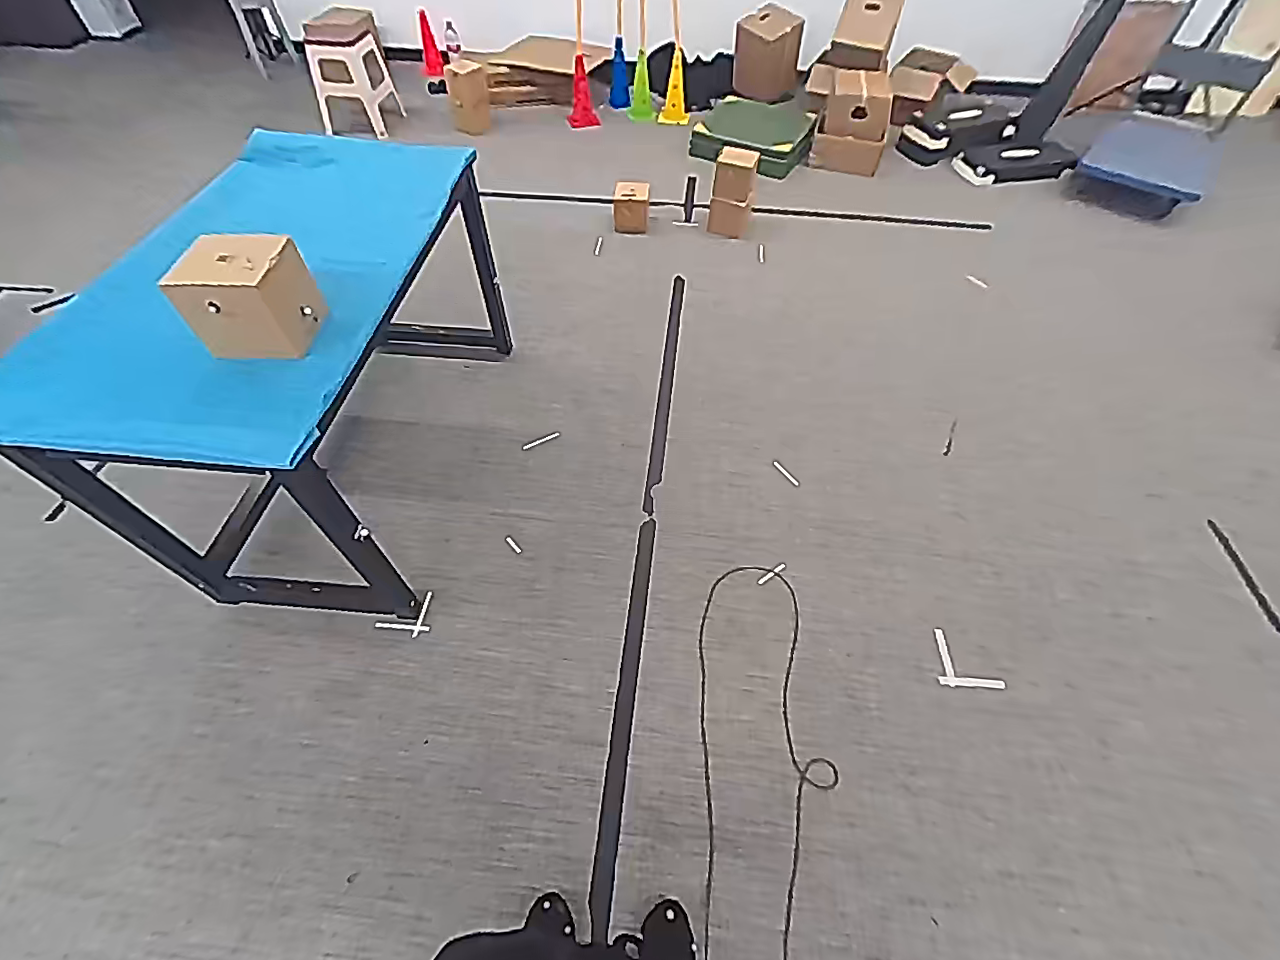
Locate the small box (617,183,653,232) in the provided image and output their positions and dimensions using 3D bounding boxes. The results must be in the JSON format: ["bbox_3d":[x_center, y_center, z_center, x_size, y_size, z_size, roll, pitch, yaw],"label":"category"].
[{"bbox_3d":[-0.021,-1.371,2.727,0.168,0.176,0.179,4,53,2],"label":"small box"}]

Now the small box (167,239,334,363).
[{"bbox_3d":[-0.749,-0.348,1.063,0.179,0.176,0.168,4,54,0],"label":"small box"}]

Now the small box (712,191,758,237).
[{"bbox_3d":[0.473,-1.355,2.725,0.179,0.176,0.168,19,55,11],"label":"small box"}]

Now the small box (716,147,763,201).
[{"bbox_3d":[0.476,-1.475,2.609,0.179,0.176,0.168,17,56,10],"label":"small box"}]
